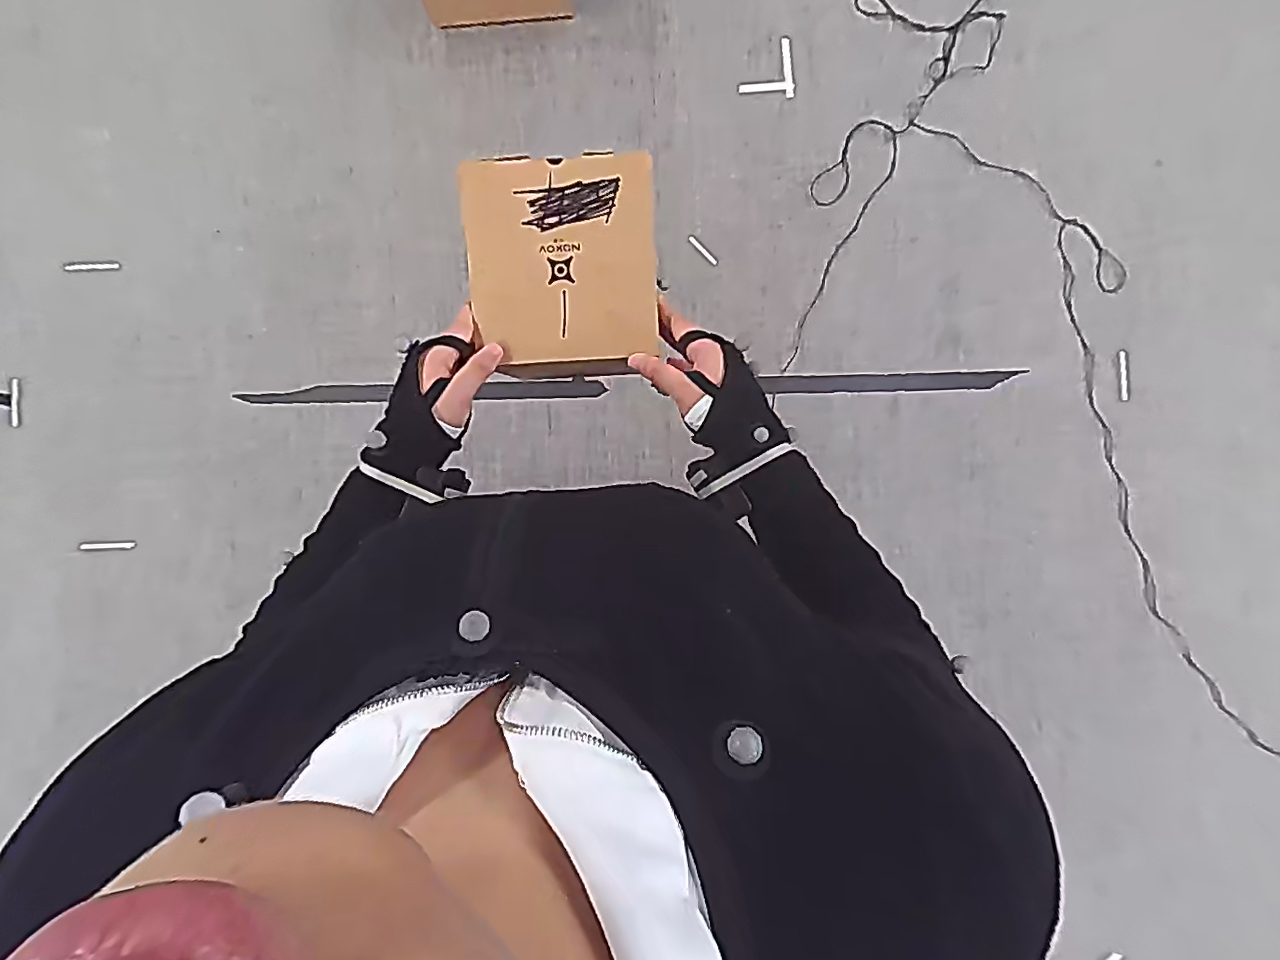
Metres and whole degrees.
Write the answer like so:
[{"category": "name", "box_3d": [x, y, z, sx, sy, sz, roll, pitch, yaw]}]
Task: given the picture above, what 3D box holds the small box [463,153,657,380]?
[{"category": "small box", "box_3d": [-0.070, -0.201, 0.554, 0.168, 0.176, 0.179, -3, 96, 1]}]
